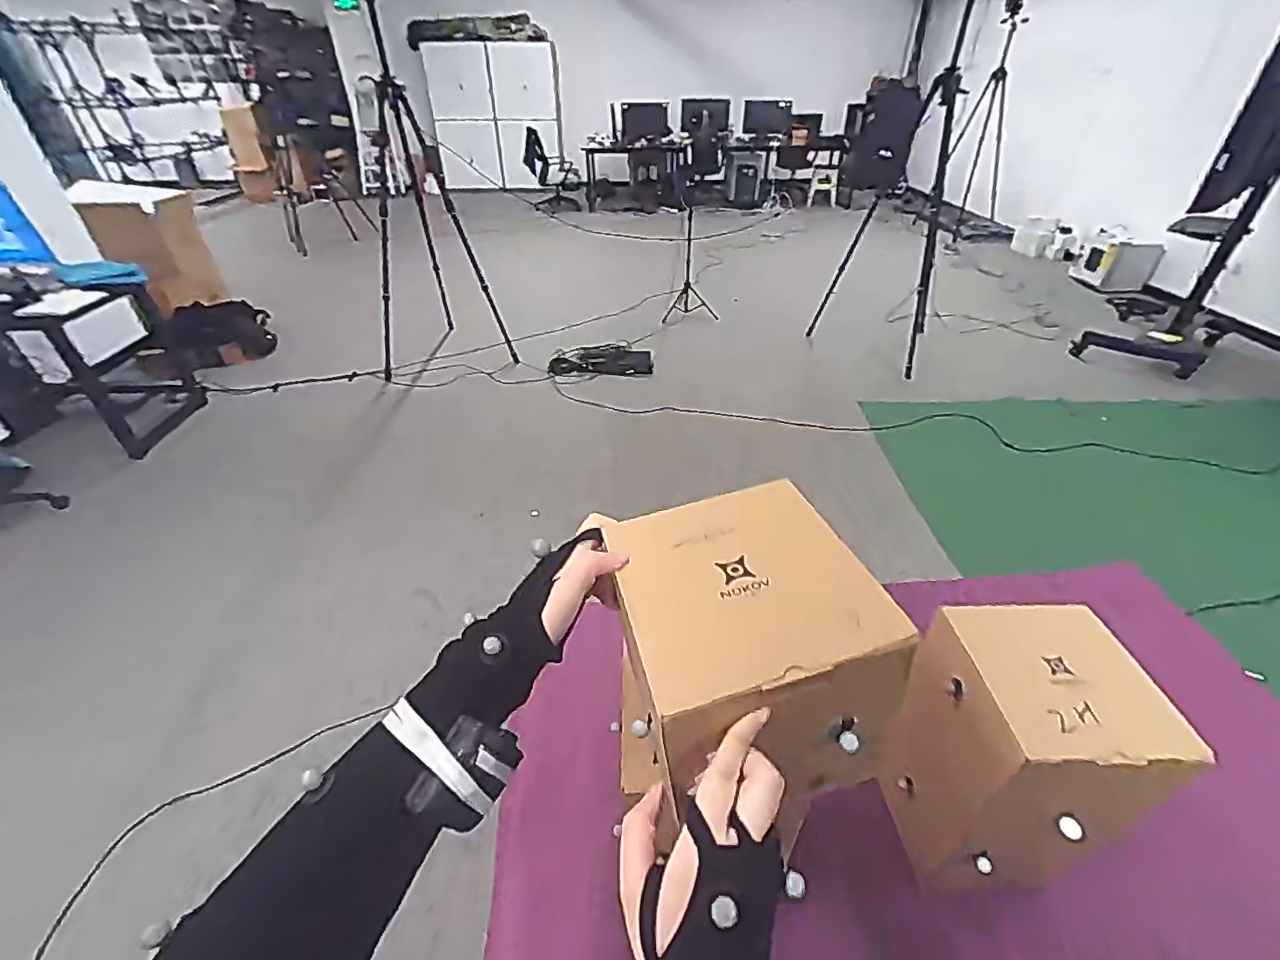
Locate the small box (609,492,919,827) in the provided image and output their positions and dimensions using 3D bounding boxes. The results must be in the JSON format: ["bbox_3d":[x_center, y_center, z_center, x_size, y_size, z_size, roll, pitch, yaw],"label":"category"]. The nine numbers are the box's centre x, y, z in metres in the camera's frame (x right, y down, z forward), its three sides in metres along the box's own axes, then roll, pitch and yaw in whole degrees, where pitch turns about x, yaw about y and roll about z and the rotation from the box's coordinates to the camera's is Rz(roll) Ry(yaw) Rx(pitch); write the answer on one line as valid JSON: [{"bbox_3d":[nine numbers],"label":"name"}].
[{"bbox_3d":[0.079,0.139,0.423,0.168,0.176,0.179,-12,35,-7],"label":"small box"}]

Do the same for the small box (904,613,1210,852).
[{"bbox_3d":[0.414,0.267,0.583,0.168,0.176,0.179,0,37,1],"label":"small box"}]

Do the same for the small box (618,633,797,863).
[{"bbox_3d":[0.064,0.276,0.569,0.168,0.176,0.179,0,36,0],"label":"small box"}]

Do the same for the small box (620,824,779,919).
[{"bbox_3d":[0.061,0.412,0.662,0.168,0.176,0.179,0,38,-1],"label":"small box"}]
